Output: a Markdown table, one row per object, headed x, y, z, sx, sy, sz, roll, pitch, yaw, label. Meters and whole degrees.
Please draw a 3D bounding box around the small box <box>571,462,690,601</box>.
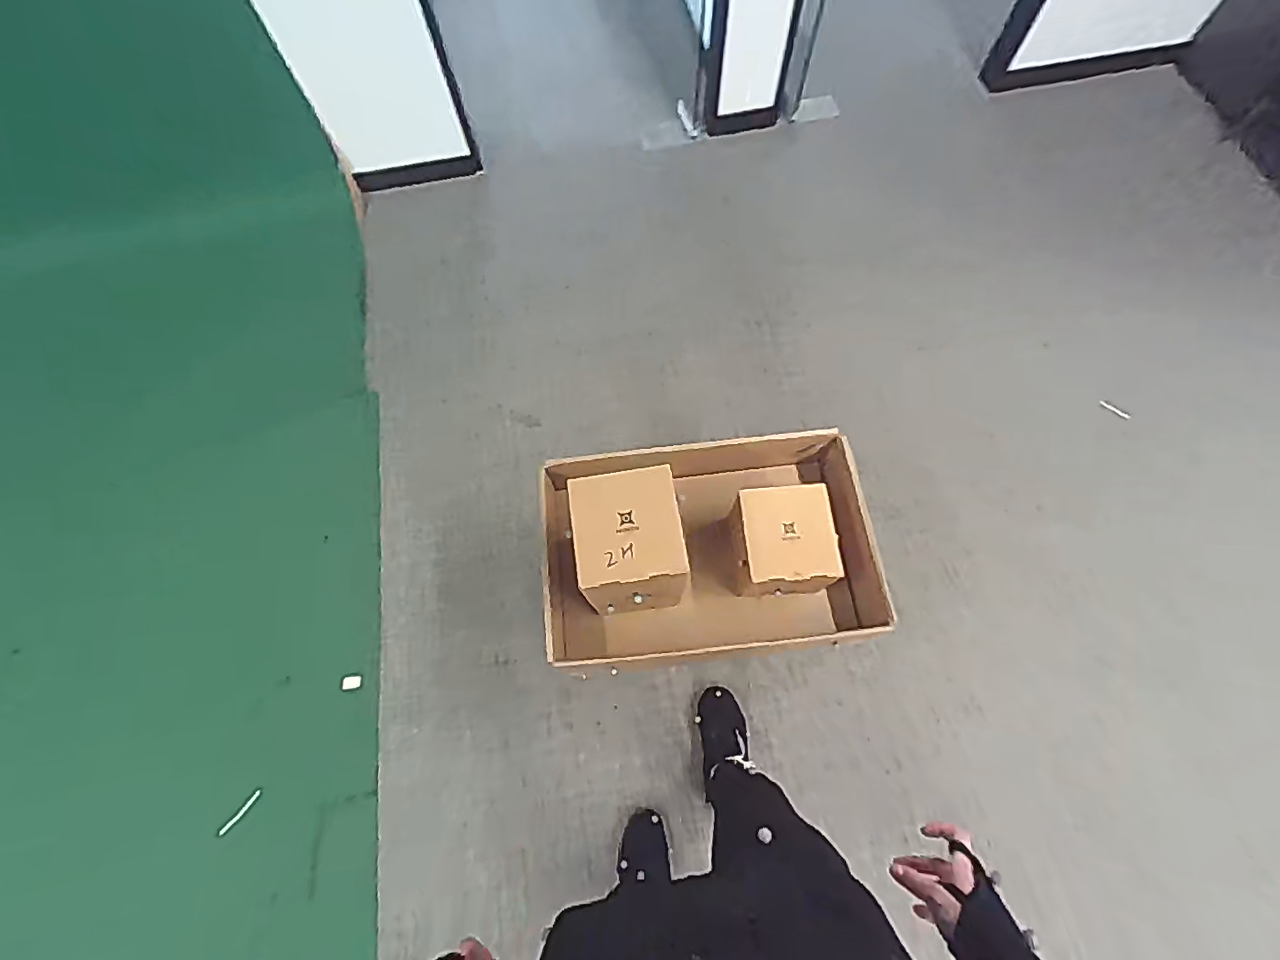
| x | y | z | sx | sy | sz | roll | pitch | yaw | label |
| --- | --- | --- | --- | --- | --- | --- | --- | --- | --- |
| -0.016 | 0.090 | 0.889 | 0.168 | 0.176 | 0.179 | -8 | 68 | -1 | small box |
